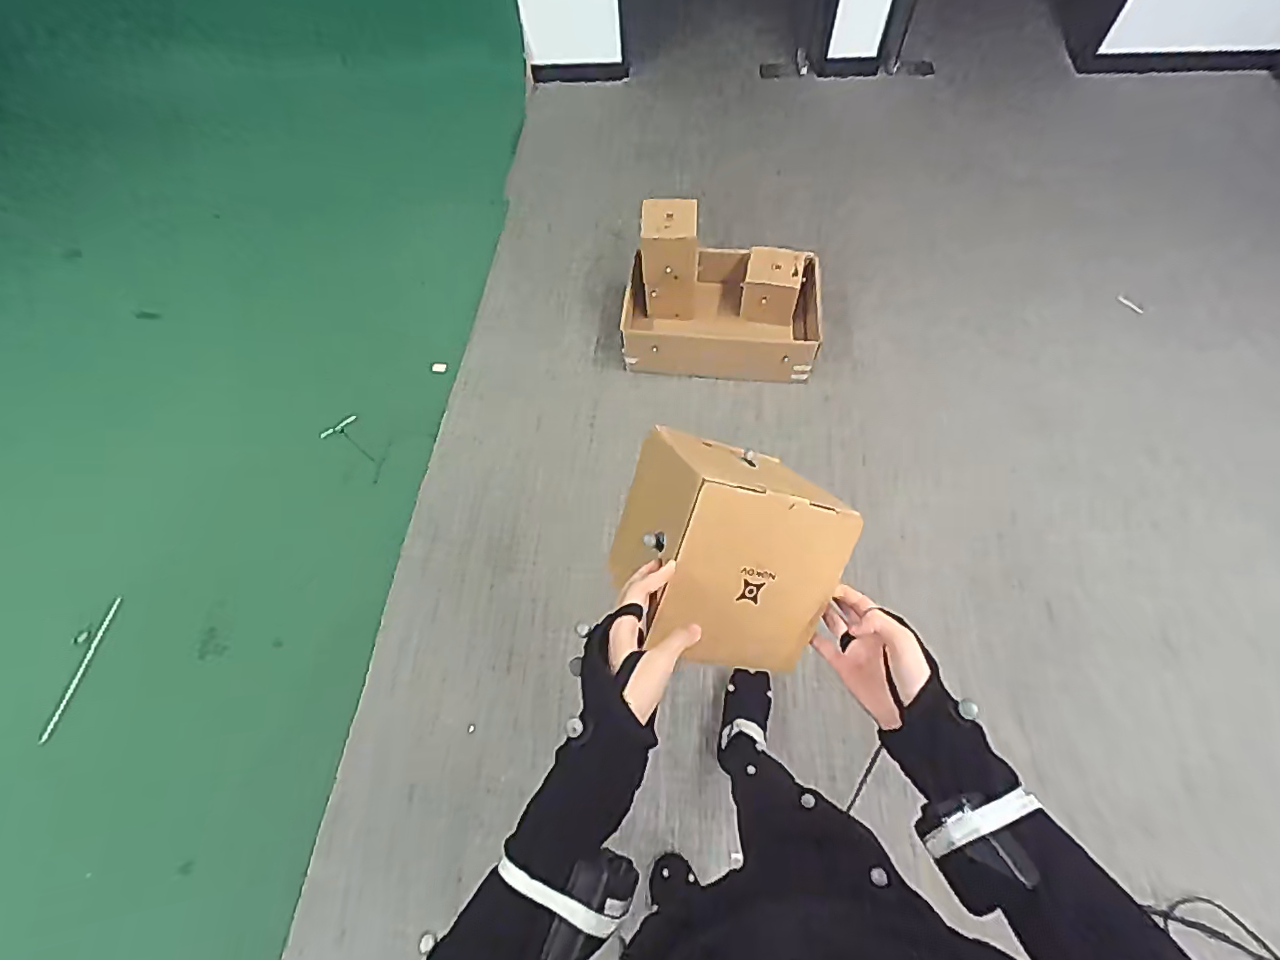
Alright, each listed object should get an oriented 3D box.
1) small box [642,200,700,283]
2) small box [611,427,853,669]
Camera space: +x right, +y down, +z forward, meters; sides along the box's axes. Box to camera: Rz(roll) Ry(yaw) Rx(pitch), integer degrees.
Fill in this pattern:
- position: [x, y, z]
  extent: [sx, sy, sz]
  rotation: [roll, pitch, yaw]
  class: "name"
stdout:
- position: [0.099, -0.740, 1.679]
  extent: [0.168, 0.176, 0.179]
  rotation: [1, 63, 6]
  class: "small box"
- position: [0.076, 0.062, 0.558]
  extent: [0.168, 0.176, 0.179]
  rotation: [13, 105, -18]
  class: "small box"
